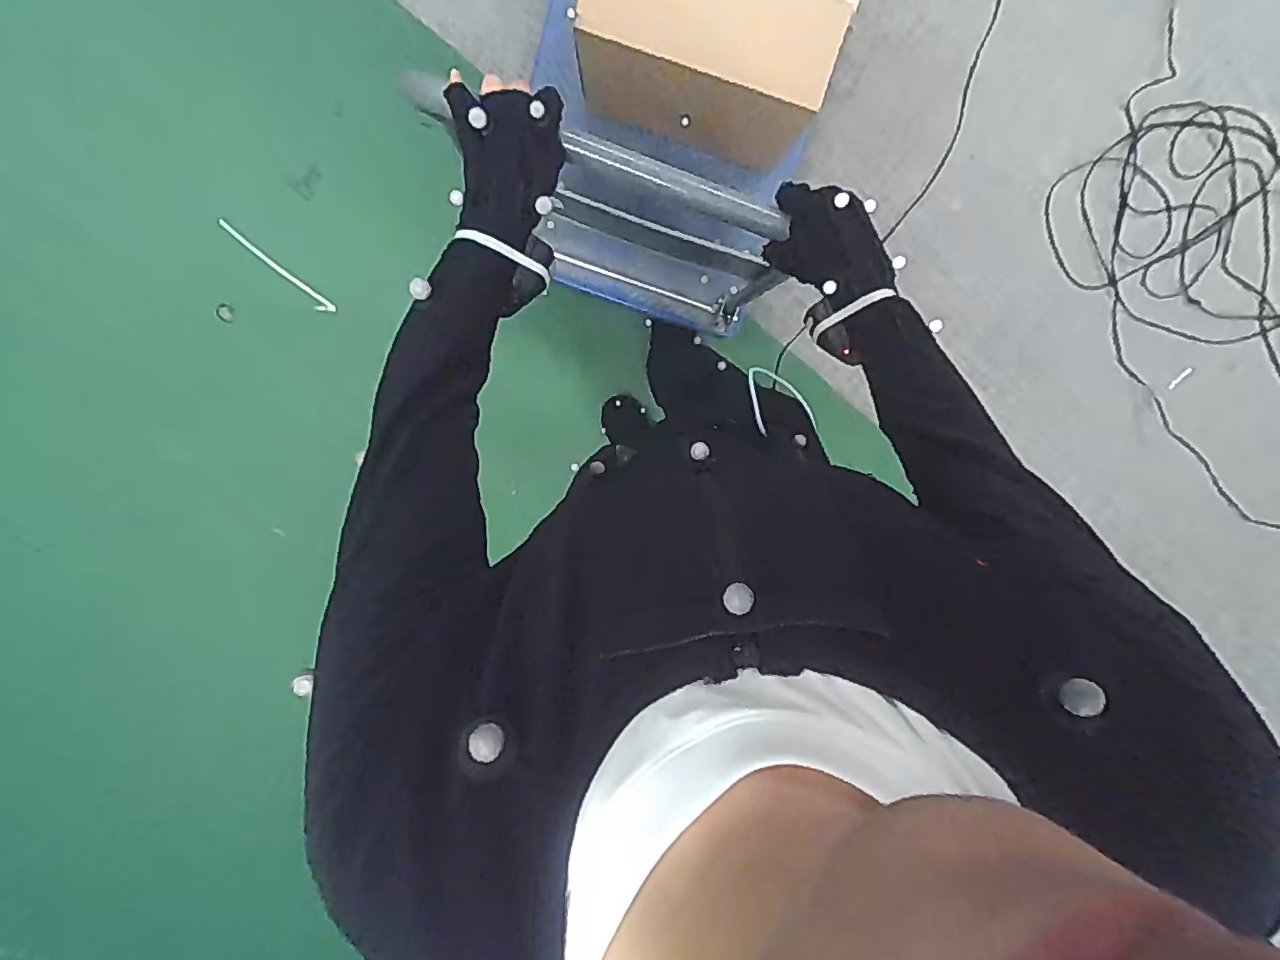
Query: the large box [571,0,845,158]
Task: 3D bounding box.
[{"bbox_3d":[0.123,-0.826,0.945,0.408,0.320,0.320,15,103,-5],"label":"large box"}]
